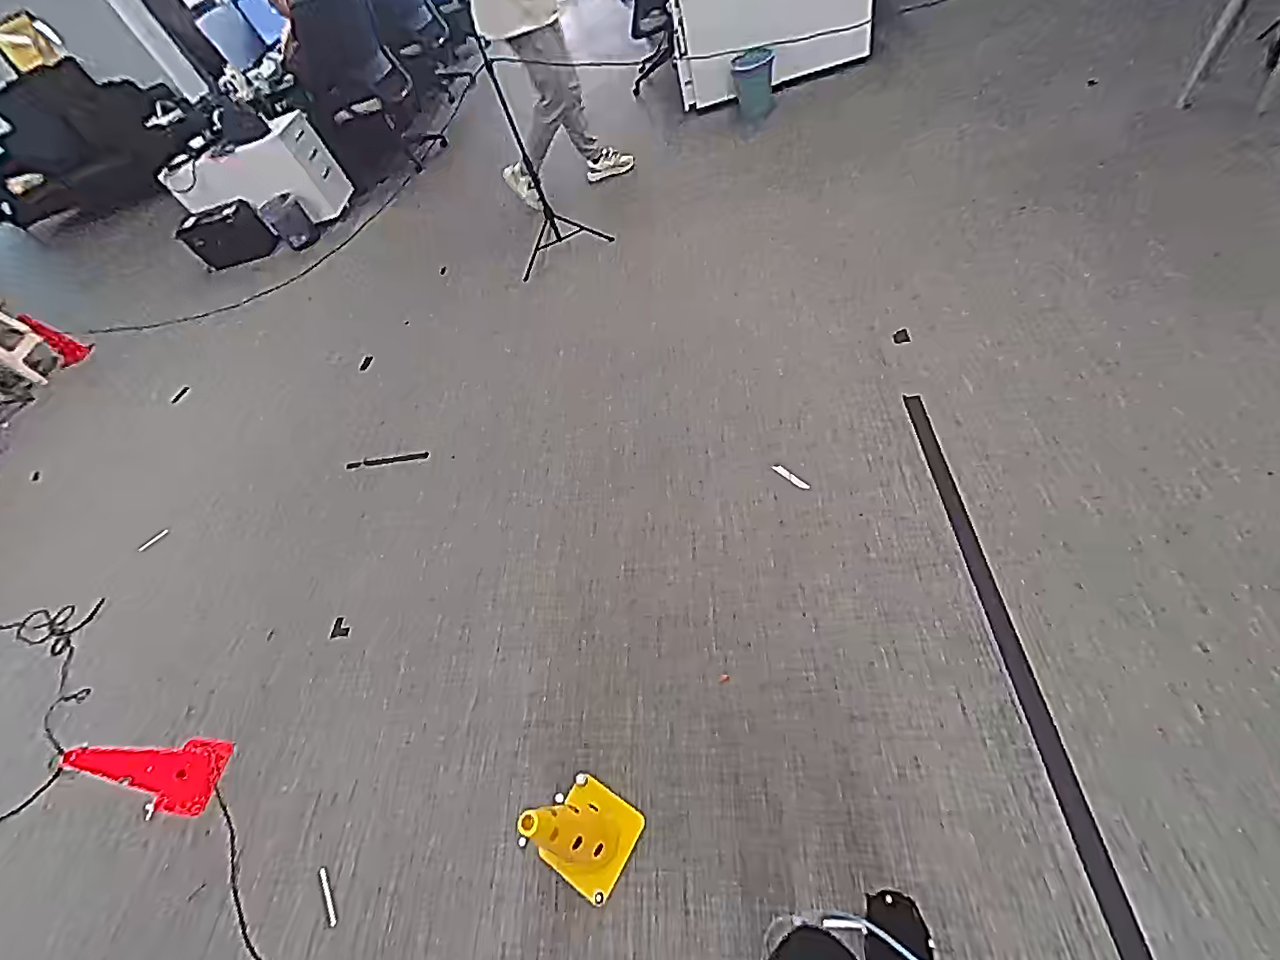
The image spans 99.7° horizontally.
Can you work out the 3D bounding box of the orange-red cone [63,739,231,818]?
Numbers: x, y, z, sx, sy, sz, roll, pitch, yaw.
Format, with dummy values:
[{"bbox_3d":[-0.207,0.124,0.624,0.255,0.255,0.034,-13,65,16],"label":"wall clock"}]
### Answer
[{"bbox_3d":[-1.401,0.806,1.509,0.199,0.360,0.198,-2,55,16],"label":"orange-red cone"}]
